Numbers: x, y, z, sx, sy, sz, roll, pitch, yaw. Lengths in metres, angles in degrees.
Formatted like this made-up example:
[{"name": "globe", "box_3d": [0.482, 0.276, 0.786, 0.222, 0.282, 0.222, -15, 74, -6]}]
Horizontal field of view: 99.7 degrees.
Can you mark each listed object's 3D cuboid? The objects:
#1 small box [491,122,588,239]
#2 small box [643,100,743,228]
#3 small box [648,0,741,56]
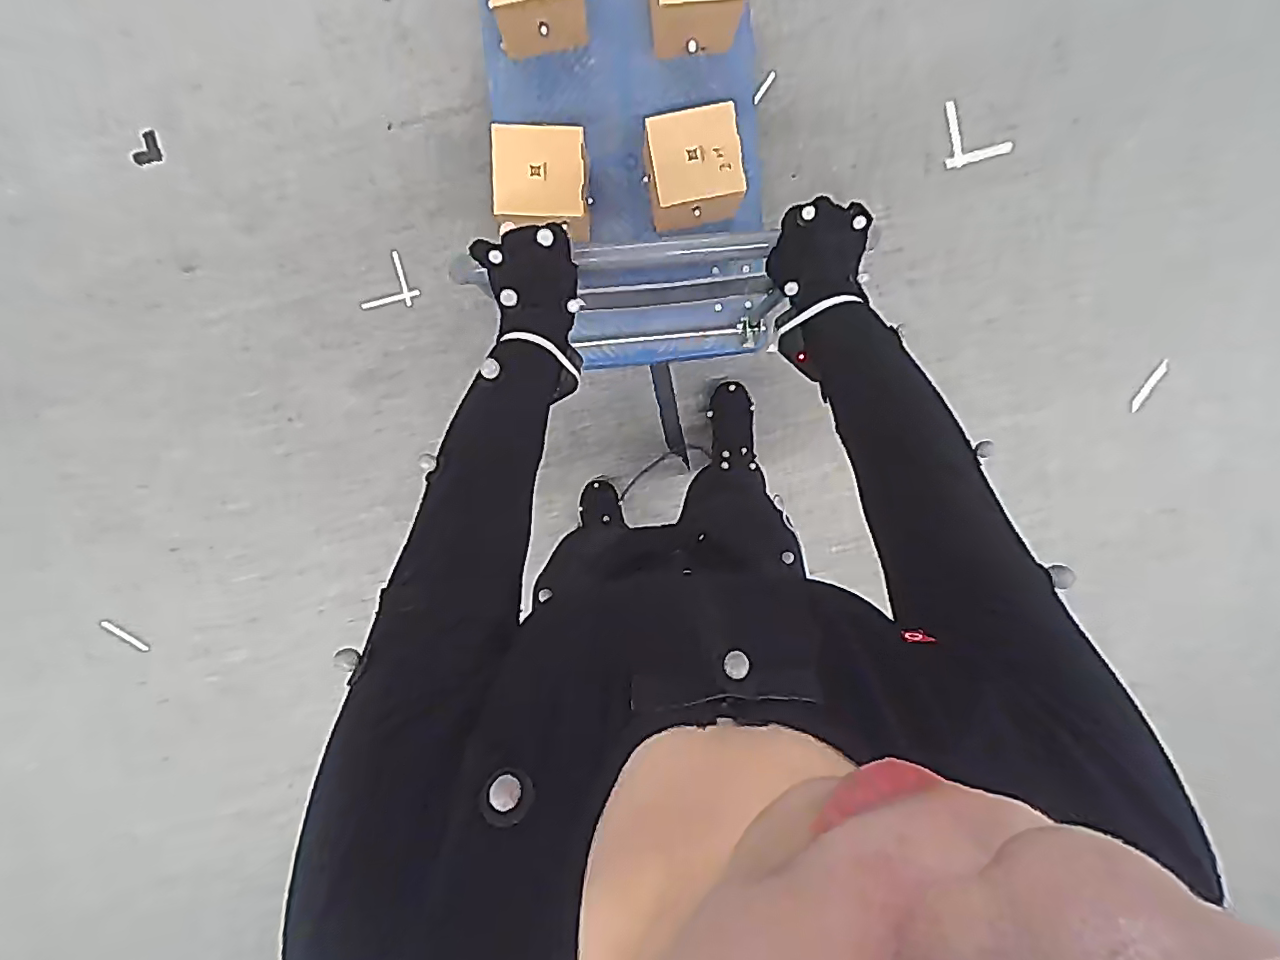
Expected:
[{"name": "small box", "box_3d": [-0.201, -0.612, 1.124, 0.179, 0.176, 0.168, 0, 98, -3]}, {"name": "small box", "box_3d": [0.104, -0.646, 1.127, 0.179, 0.176, 0.168, -11, 98, 0]}, {"name": "small box", "box_3d": [0.102, -0.996, 1.076, 0.168, 0.176, 0.179, -6, 99, -1]}]
